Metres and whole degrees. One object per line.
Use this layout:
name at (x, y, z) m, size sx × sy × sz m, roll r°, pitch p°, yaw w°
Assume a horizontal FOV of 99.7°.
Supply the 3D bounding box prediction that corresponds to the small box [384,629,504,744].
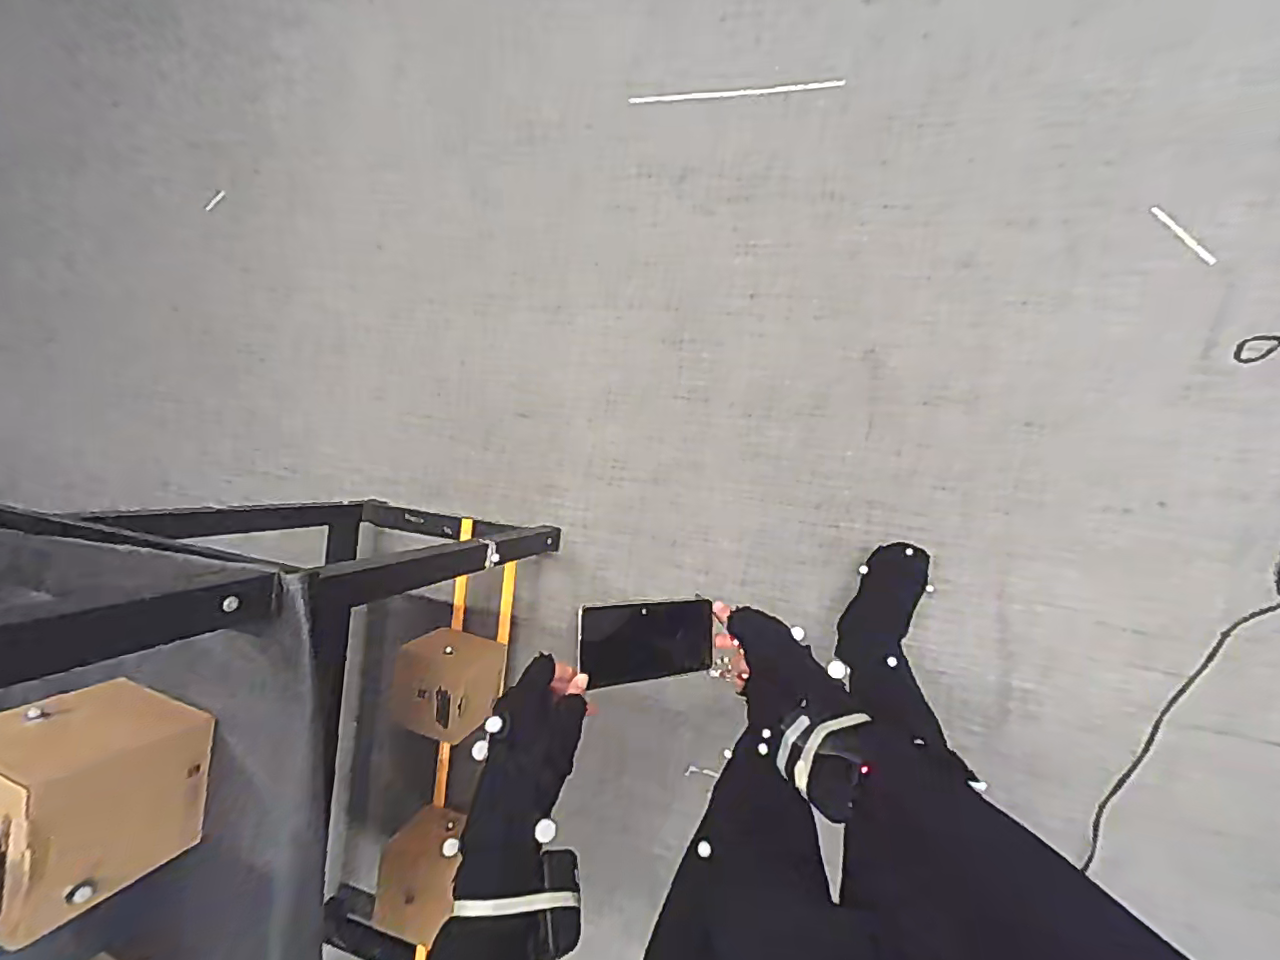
small box at (-0.425, 0.445, 1.197) m, size 0.179 × 0.176 × 0.168 m, roll 11°, pitch 92°, yaw 16°
